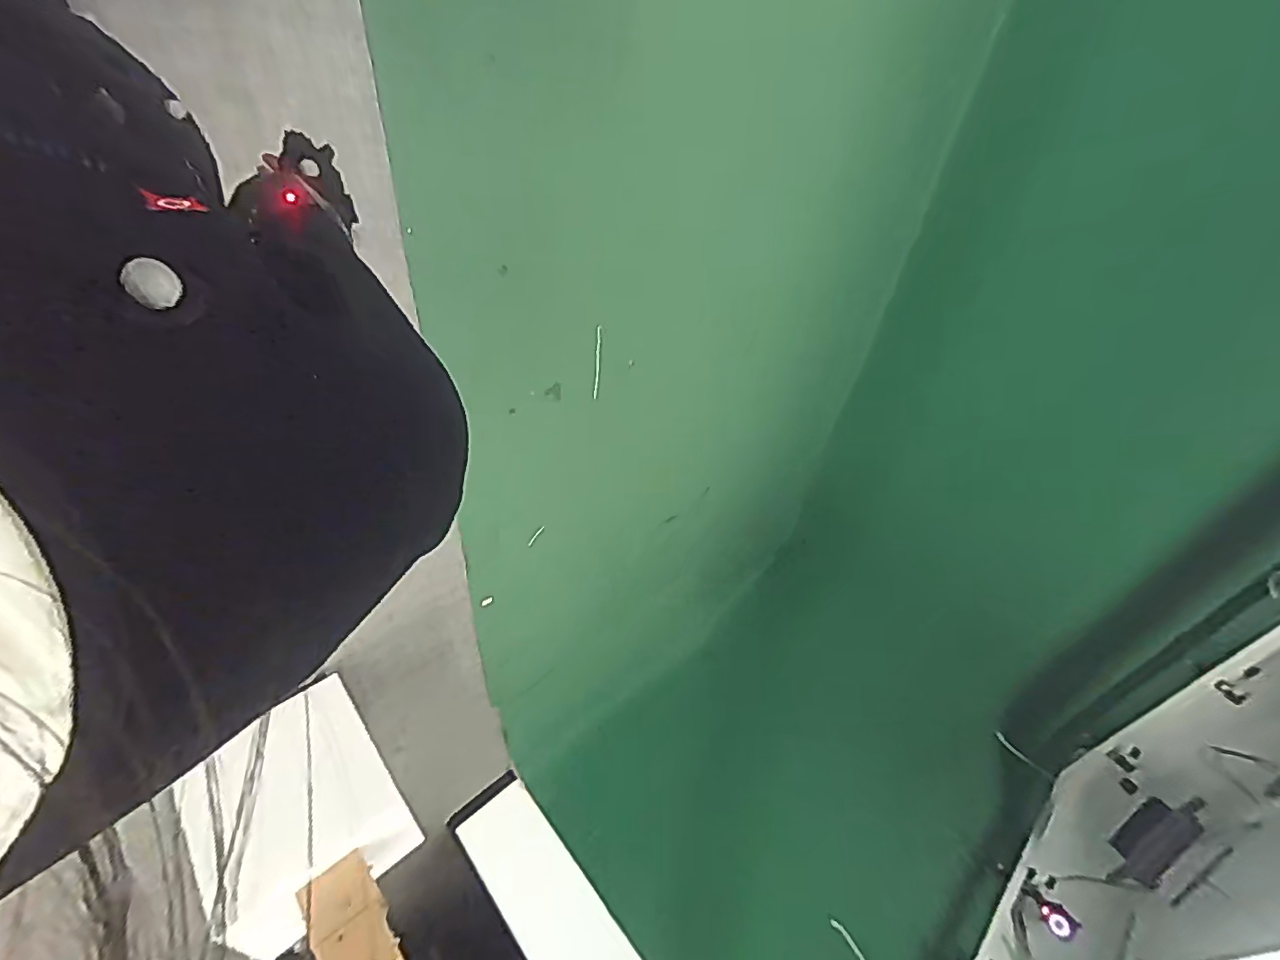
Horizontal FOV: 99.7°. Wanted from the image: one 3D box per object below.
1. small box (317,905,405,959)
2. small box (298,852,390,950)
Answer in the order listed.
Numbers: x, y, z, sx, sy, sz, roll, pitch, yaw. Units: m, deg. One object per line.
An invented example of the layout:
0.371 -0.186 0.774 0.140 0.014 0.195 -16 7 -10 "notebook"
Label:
-0.770 1.342 1.509 0.168 0.176 0.179 -26 140 -32 "small box"
-0.871 1.251 1.595 0.179 0.176 0.168 -26 140 -34 "small box"
